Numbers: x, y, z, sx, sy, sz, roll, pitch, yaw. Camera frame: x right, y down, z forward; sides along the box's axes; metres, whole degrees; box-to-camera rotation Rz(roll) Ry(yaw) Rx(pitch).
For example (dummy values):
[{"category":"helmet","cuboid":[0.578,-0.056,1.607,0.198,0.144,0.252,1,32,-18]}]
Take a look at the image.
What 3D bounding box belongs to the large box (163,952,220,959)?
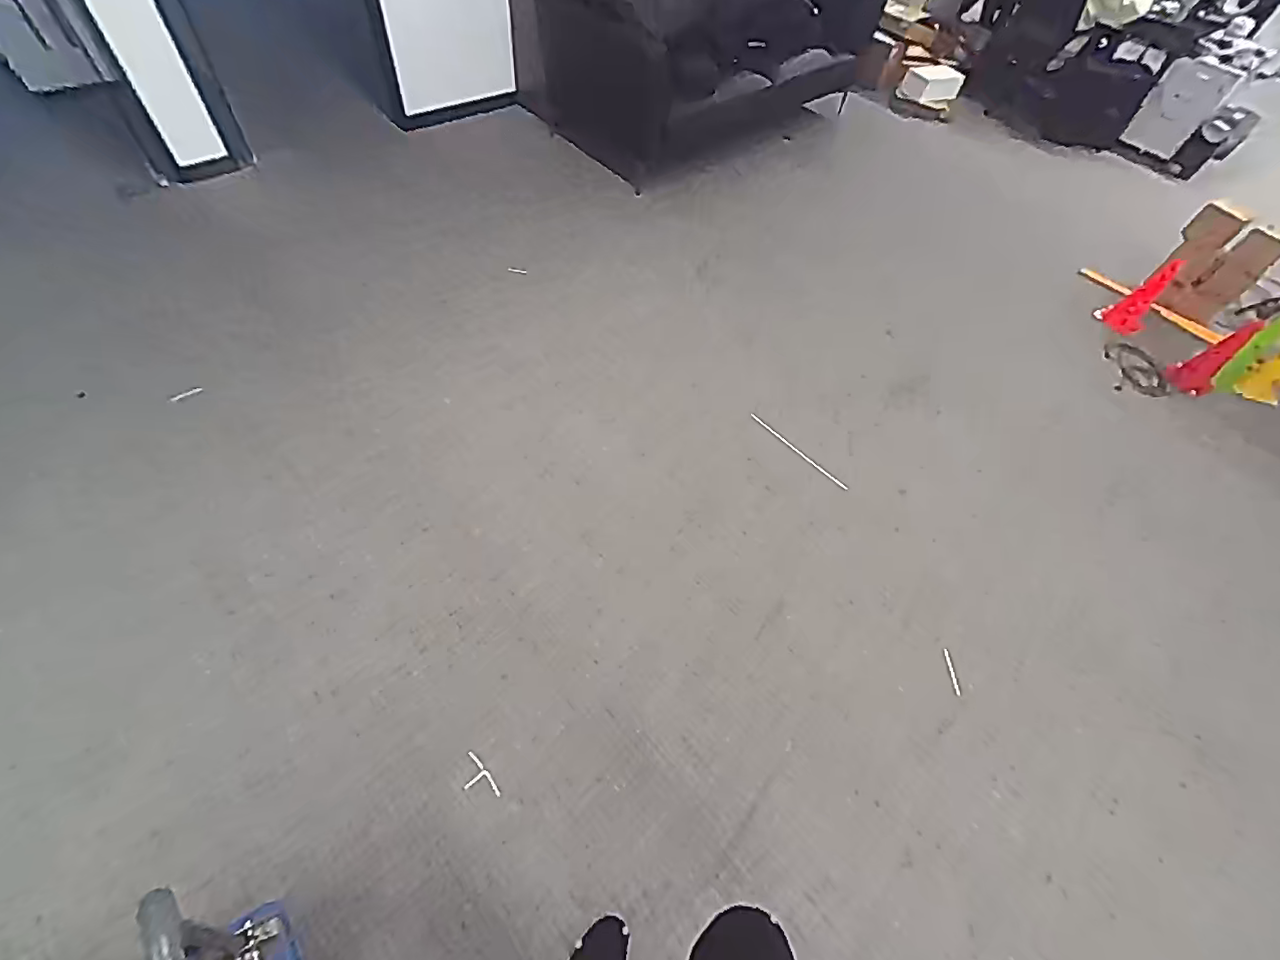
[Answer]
[{"category":"large box","cuboid":[-0.828,0.979,0.753,0.408,0.320,0.320,-23,61,-32]}]
